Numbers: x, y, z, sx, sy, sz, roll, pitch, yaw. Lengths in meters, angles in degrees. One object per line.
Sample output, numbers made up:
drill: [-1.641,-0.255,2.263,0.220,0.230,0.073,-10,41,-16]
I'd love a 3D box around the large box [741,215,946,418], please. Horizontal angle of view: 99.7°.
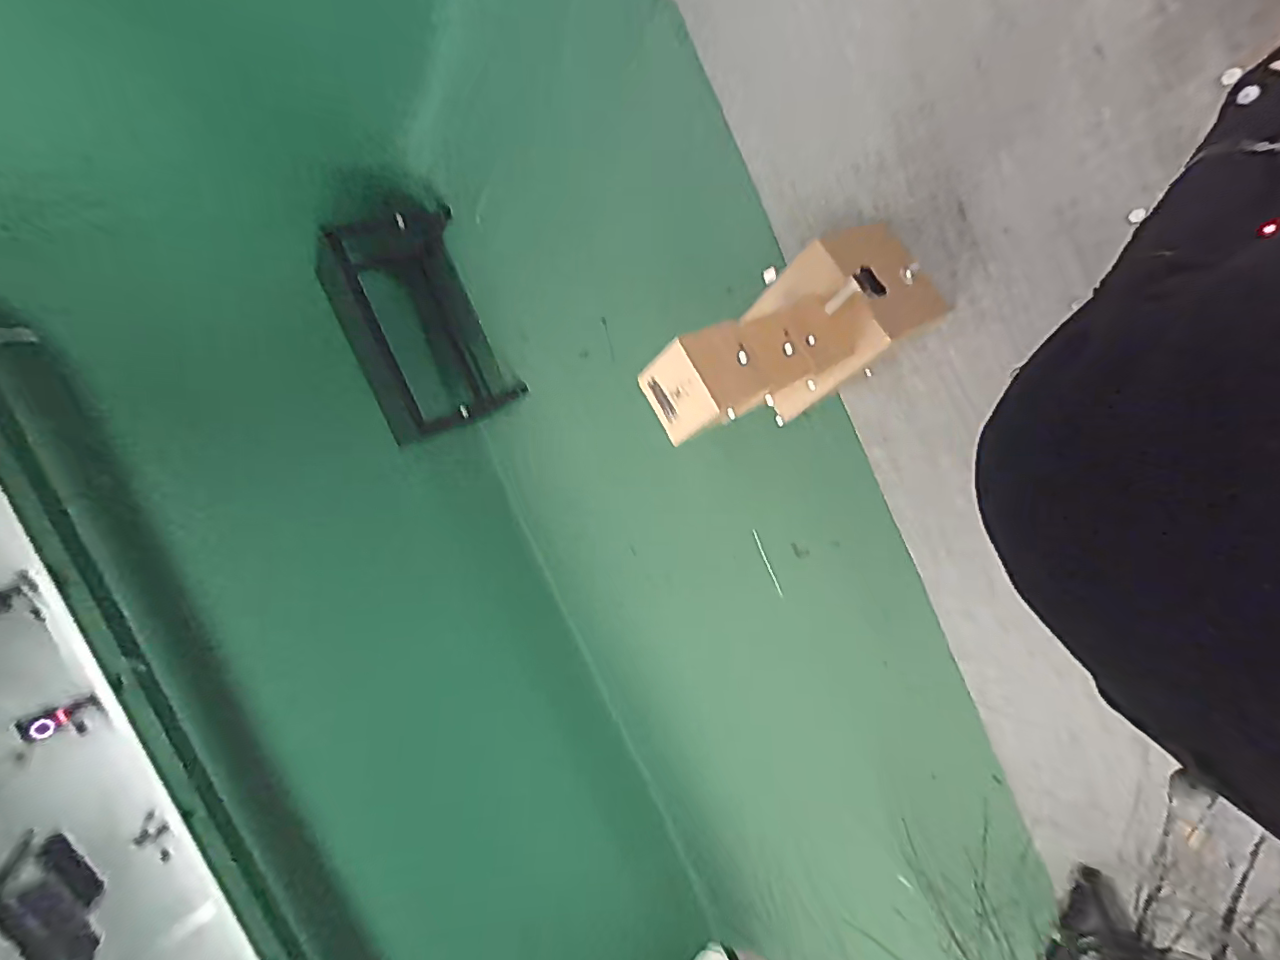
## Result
large box: [0.519,-0.438,1.482,0.320,0.320,0.408,58,148,8]

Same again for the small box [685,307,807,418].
small box: [0.243,-0.268,1.233,0.168,0.176,0.179,61,146,1]

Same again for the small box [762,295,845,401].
small box: [0.364,-0.325,1.324,0.179,0.176,0.168,60,147,2]
